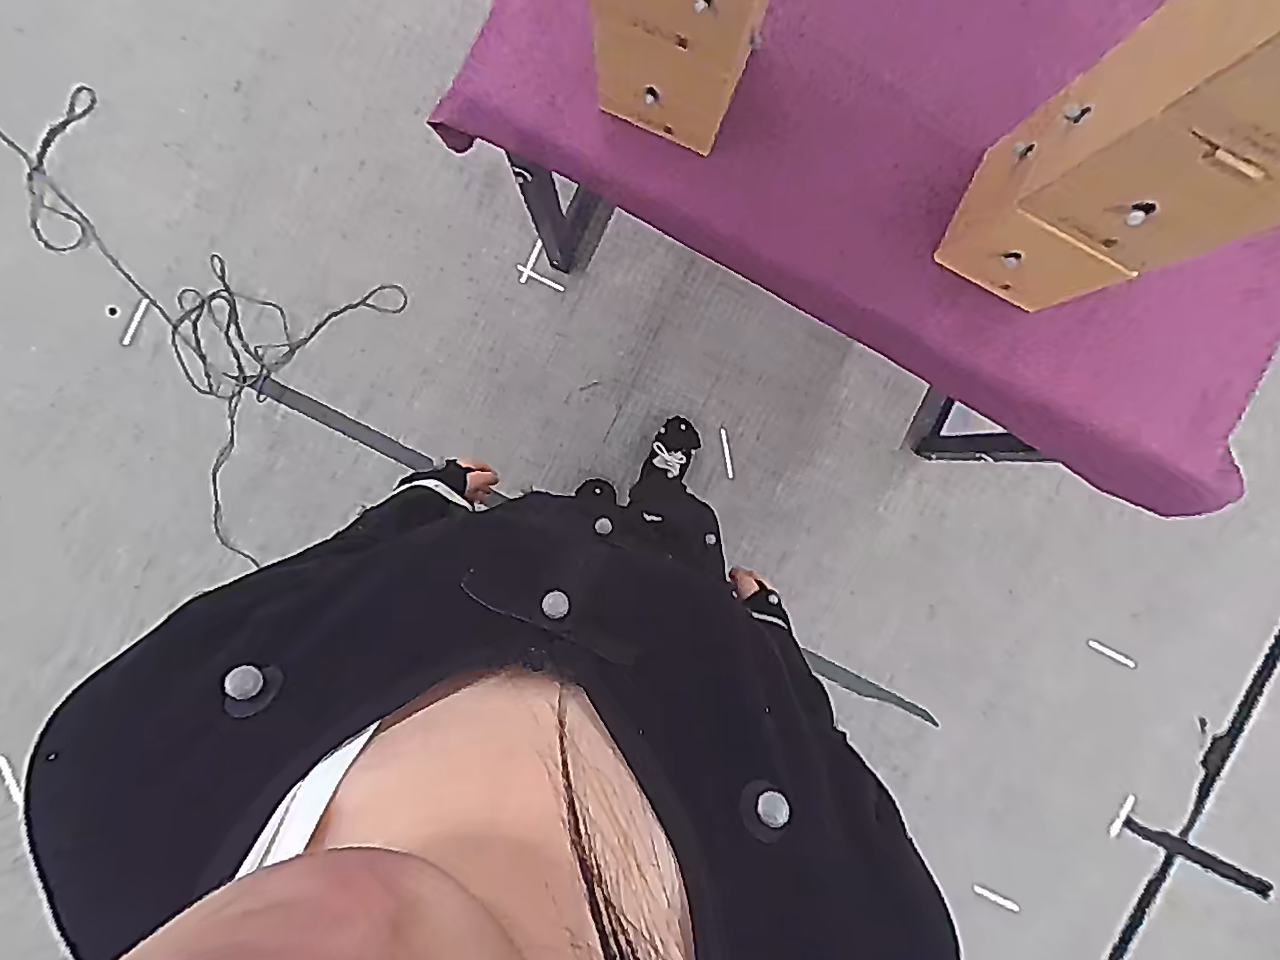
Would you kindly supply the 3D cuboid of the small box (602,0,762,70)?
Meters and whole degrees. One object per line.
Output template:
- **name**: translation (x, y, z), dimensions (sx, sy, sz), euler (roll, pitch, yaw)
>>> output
- **small box**: translation (0.058, -0.542, 0.503), dimensions (0.168, 0.176, 0.179), euler (21, 91, -4)

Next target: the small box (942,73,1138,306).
- **small box**: translation (0.529, -0.351, 0.695), dimensions (0.168, 0.176, 0.179), euler (27, 91, -3)

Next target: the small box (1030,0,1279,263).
- **small box**: translation (0.537, -0.347, 0.531), dimensions (0.168, 0.176, 0.179), euler (27, 92, -3)

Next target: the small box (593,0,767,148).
- **small box**: translation (0.054, -0.557, 0.665), dimensions (0.168, 0.176, 0.179), euler (22, 91, -4)
